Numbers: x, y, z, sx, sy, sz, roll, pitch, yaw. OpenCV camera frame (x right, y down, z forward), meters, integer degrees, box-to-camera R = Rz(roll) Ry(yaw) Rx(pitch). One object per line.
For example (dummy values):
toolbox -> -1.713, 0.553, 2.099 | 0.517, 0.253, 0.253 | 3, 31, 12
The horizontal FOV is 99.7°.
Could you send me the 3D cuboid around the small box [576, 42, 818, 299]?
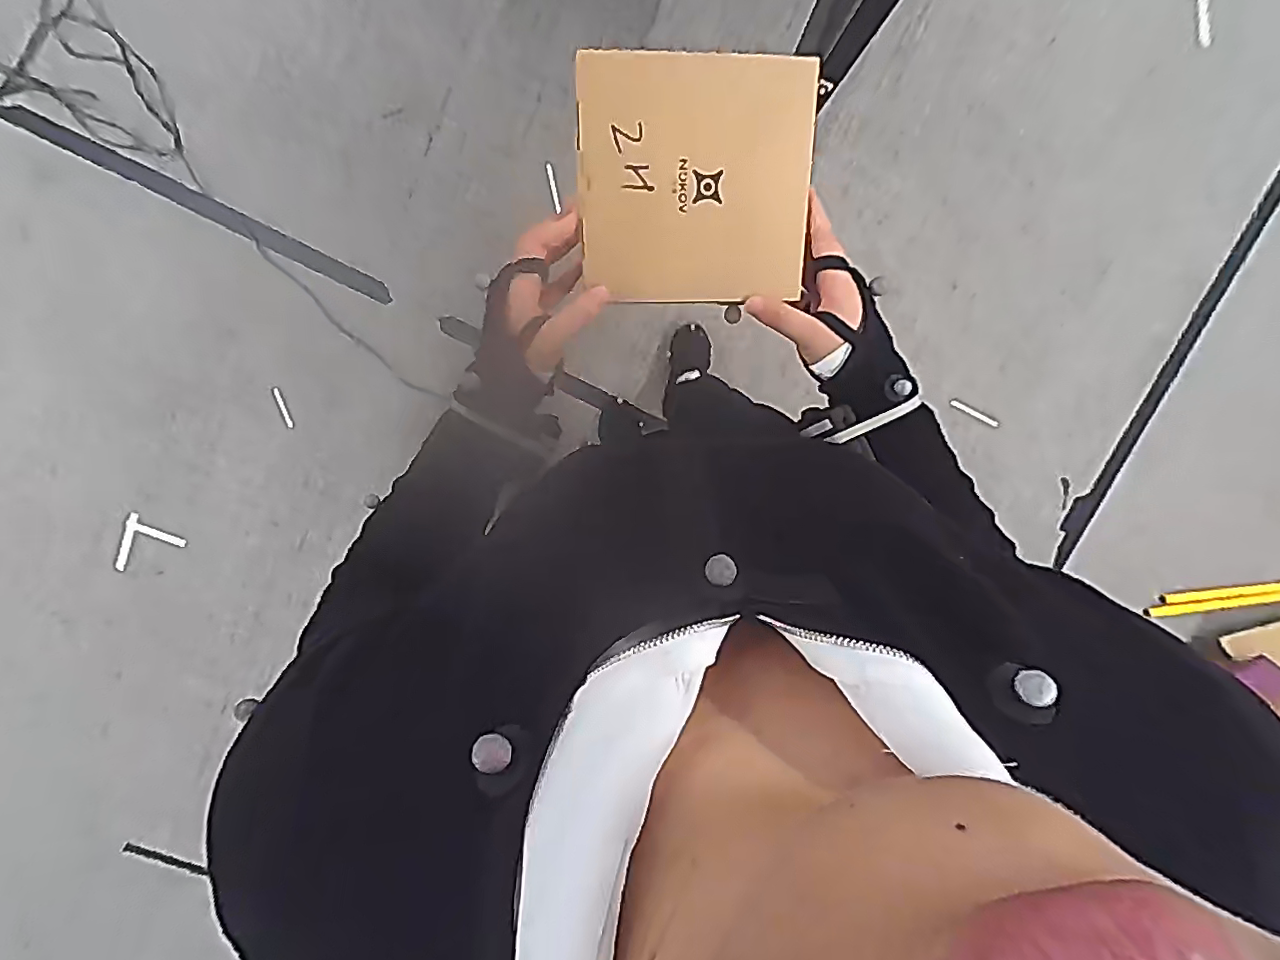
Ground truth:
small box -> 0.034, -0.250, 0.478 | 0.179, 0.176, 0.168 | -2, 108, -4
